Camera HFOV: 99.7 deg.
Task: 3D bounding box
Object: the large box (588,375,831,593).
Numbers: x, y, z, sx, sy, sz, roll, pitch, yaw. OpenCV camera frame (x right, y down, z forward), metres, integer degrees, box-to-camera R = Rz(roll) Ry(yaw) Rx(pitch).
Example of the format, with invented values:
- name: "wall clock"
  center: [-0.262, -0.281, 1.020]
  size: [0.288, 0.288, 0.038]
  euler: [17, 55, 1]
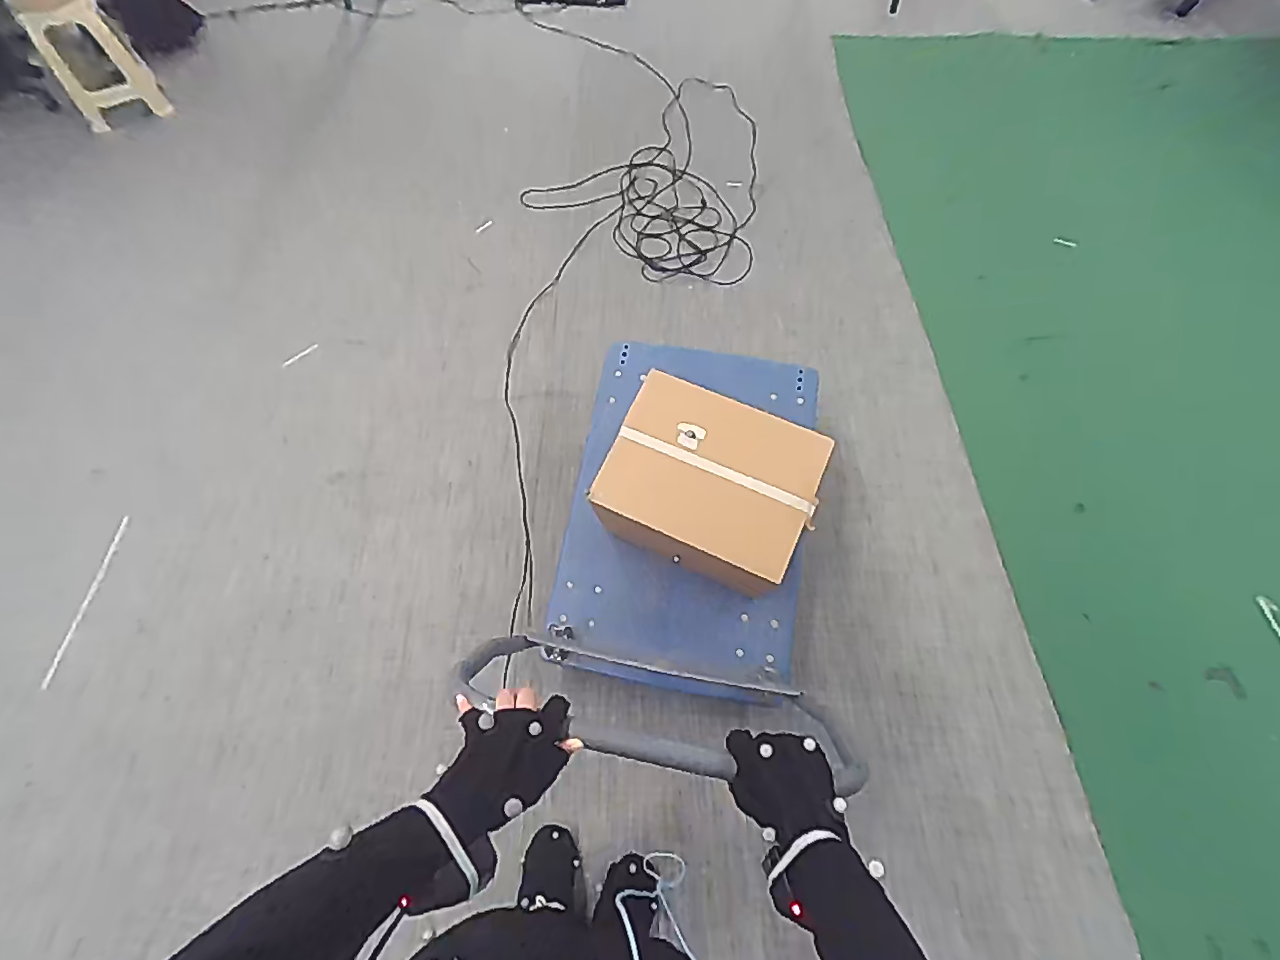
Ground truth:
- name: "large box"
  center: [0.150, 0.026, 1.206]
  size: [0.408, 0.320, 0.320]
  euler: [24, 76, 11]
